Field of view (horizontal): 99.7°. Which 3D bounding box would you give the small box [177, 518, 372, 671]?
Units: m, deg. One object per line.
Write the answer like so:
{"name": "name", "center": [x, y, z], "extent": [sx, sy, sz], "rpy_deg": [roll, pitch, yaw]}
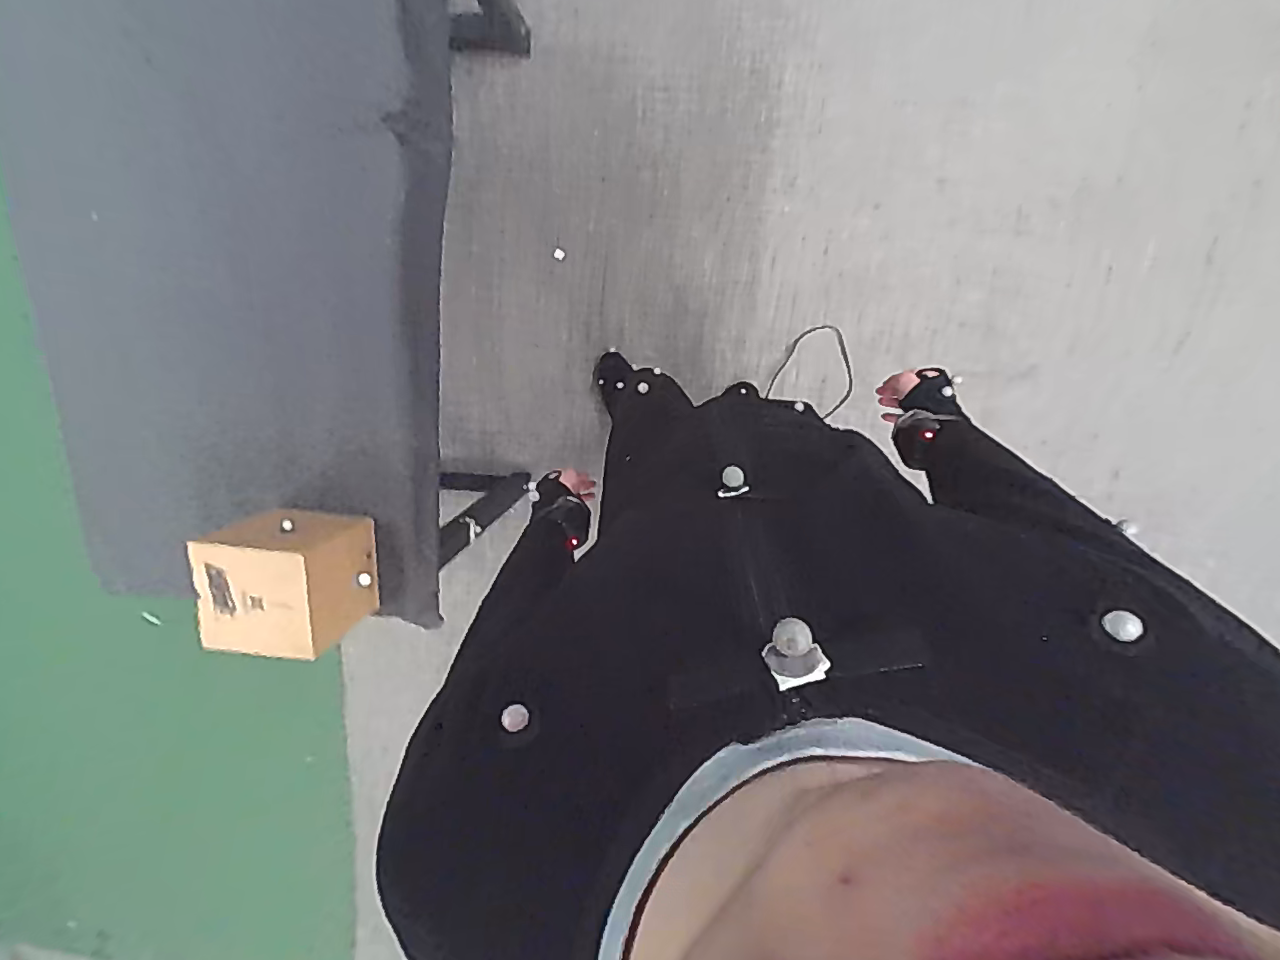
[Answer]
{"name": "small box", "center": [-0.537, 0.162, 0.818], "extent": [0.179, 0.176, 0.168], "rpy_deg": [4, 104, 5]}
